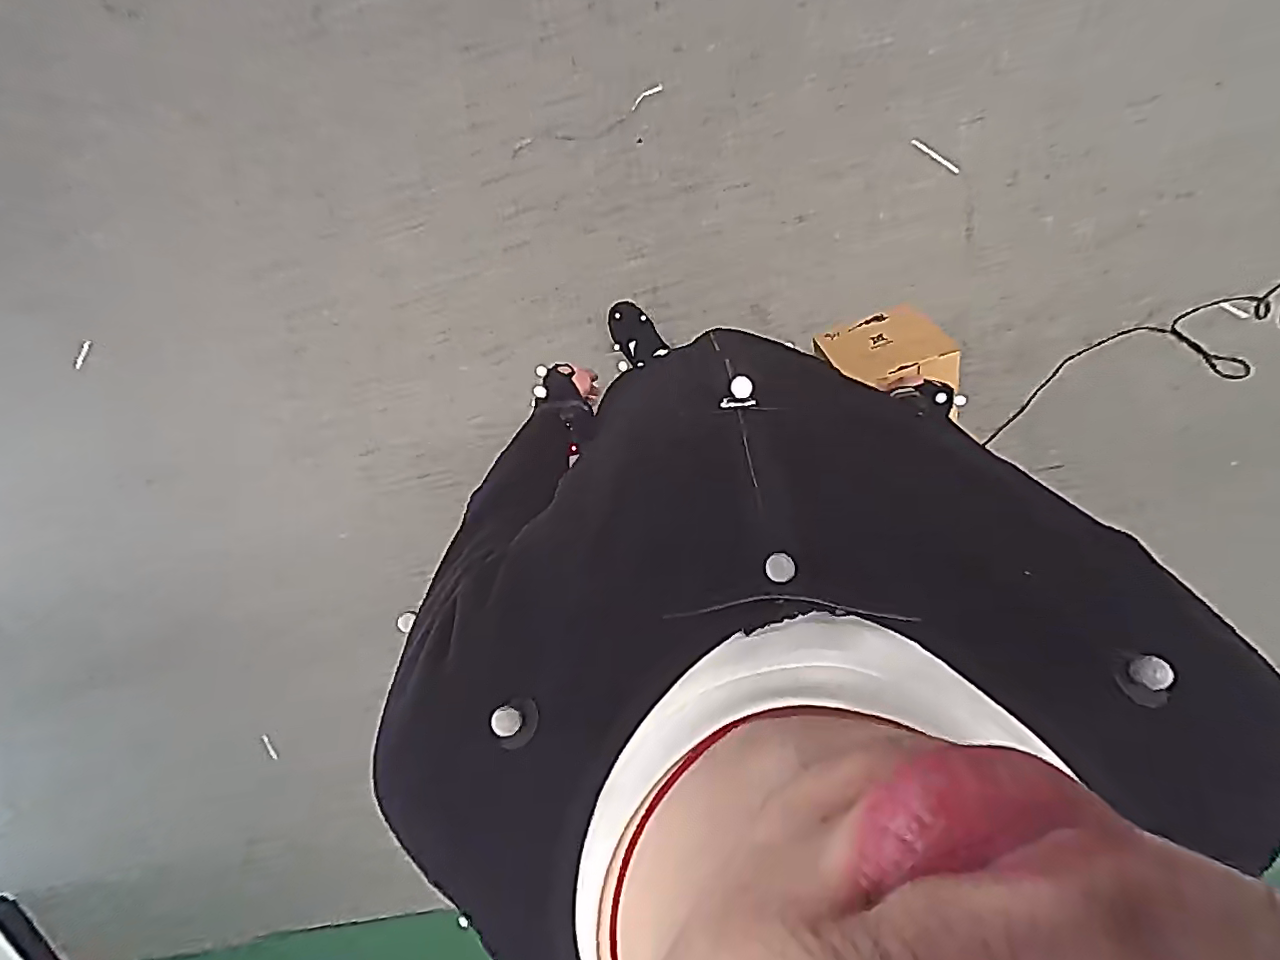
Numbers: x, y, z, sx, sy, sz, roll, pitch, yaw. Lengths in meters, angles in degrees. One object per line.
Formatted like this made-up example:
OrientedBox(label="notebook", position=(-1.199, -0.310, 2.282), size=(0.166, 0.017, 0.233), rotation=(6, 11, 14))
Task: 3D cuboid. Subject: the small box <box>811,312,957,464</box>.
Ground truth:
OrientedBox(label="small box", position=(0.412, -0.148, 0.915), size=(0.168, 0.179, 0.176), rotation=(-22, 129, 9))
